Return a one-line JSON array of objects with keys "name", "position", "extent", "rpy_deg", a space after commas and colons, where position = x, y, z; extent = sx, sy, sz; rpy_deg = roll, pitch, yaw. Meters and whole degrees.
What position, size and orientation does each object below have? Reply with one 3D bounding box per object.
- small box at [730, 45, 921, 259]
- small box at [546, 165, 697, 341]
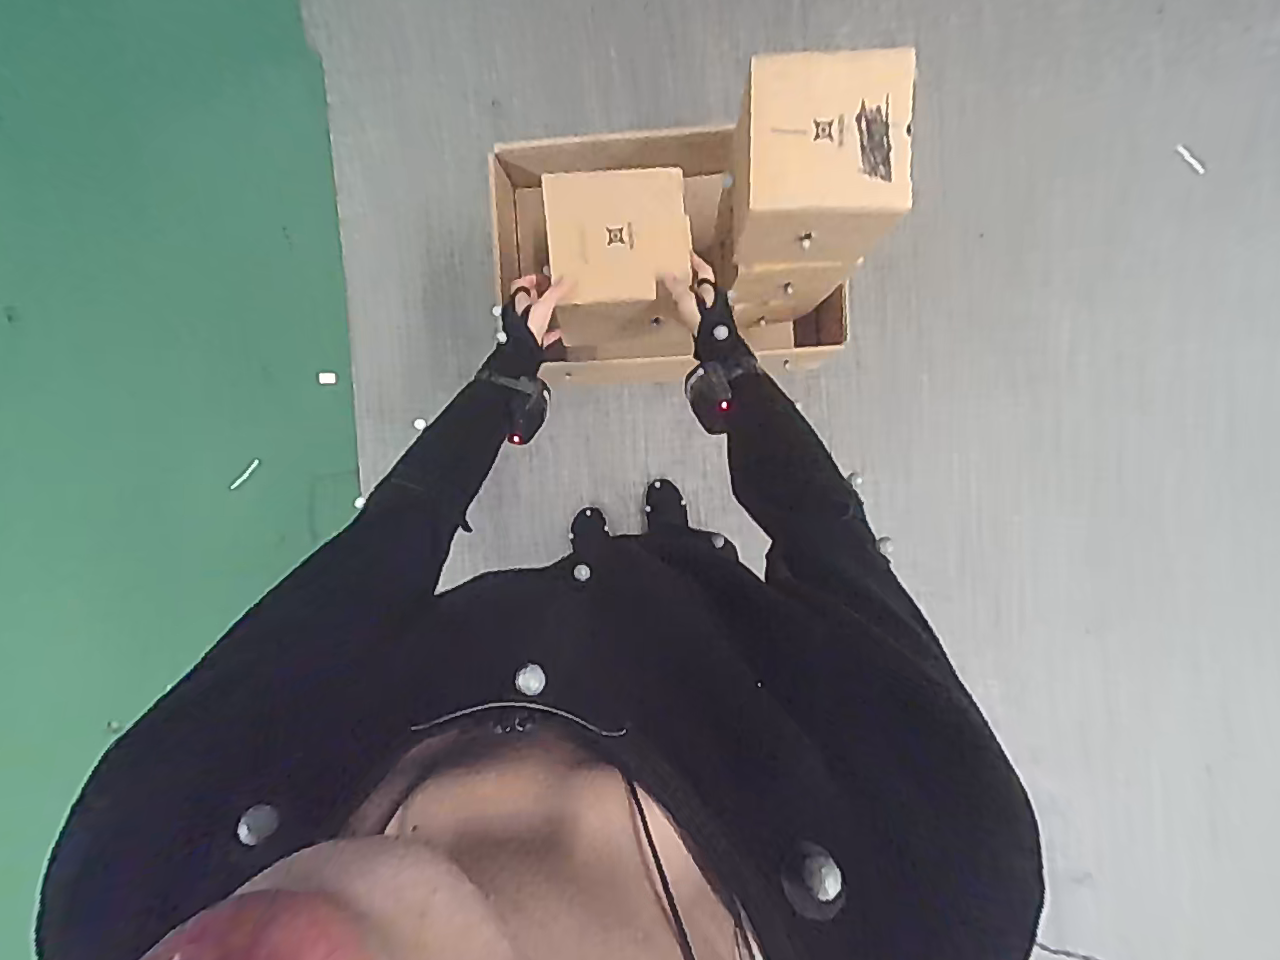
[{"name": "small box", "position": [0.209, -0.378, 0.652], "extent": [0.179, 0.176, 0.168], "rpy_deg": [1, 93, 3]}, {"name": "small box", "position": [-0.028, -0.295, 0.732], "extent": [0.179, 0.176, 0.168], "rpy_deg": [-5, 87, -4]}]
